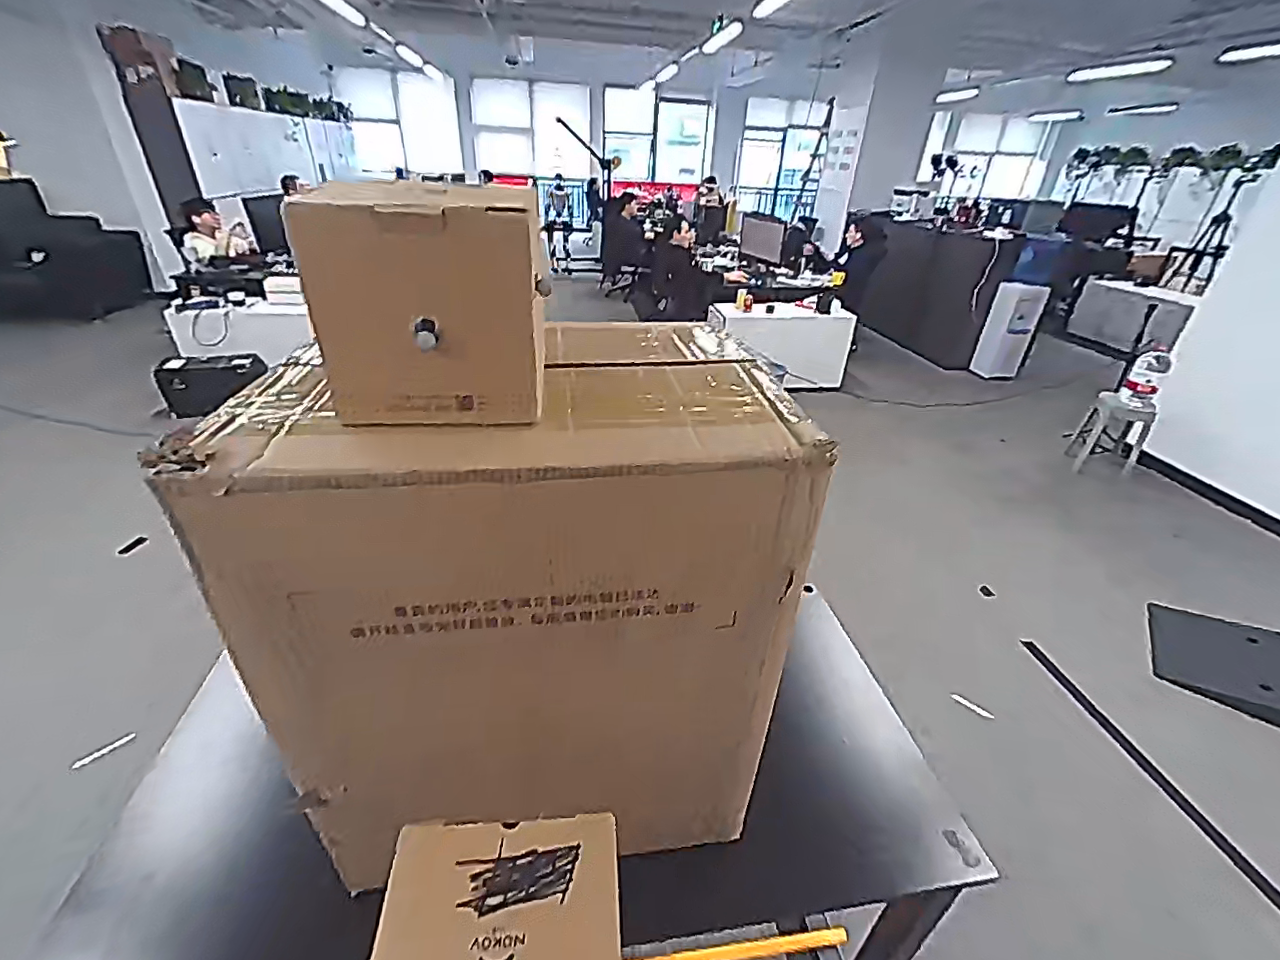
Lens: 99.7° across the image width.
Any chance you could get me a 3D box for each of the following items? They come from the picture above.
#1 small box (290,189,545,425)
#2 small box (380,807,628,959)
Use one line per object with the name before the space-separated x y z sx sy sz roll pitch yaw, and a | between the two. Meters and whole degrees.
small box | -0.174 -0.159 0.491 0.168 0.176 0.179 -1 33 -8
small box | -0.098 0.383 0.412 0.168 0.176 0.179 0 36 -8
